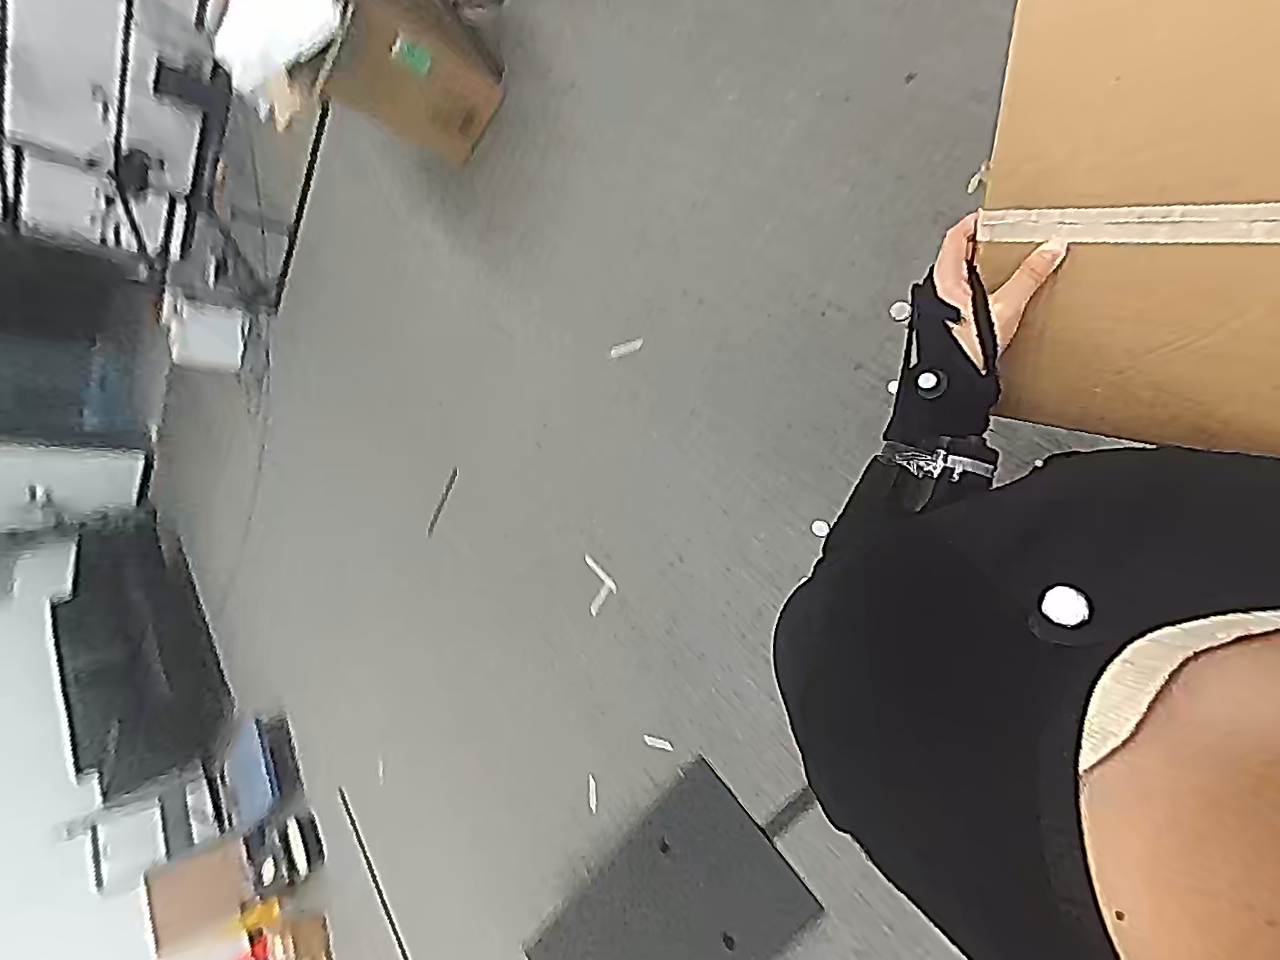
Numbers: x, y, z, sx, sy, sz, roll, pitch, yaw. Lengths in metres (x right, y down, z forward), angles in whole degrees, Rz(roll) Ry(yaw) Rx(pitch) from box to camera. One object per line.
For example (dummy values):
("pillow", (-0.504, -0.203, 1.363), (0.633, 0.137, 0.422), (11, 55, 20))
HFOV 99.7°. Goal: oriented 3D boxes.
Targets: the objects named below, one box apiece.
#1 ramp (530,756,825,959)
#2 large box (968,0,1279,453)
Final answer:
("ramp", (0.057, 1.375, 1.660), (0.509, 0.206, 0.991), (43, 114, 31))
("large box", (0.491, -0.221, 0.349), (0.408, 0.320, 0.320), (18, 139, 38))
